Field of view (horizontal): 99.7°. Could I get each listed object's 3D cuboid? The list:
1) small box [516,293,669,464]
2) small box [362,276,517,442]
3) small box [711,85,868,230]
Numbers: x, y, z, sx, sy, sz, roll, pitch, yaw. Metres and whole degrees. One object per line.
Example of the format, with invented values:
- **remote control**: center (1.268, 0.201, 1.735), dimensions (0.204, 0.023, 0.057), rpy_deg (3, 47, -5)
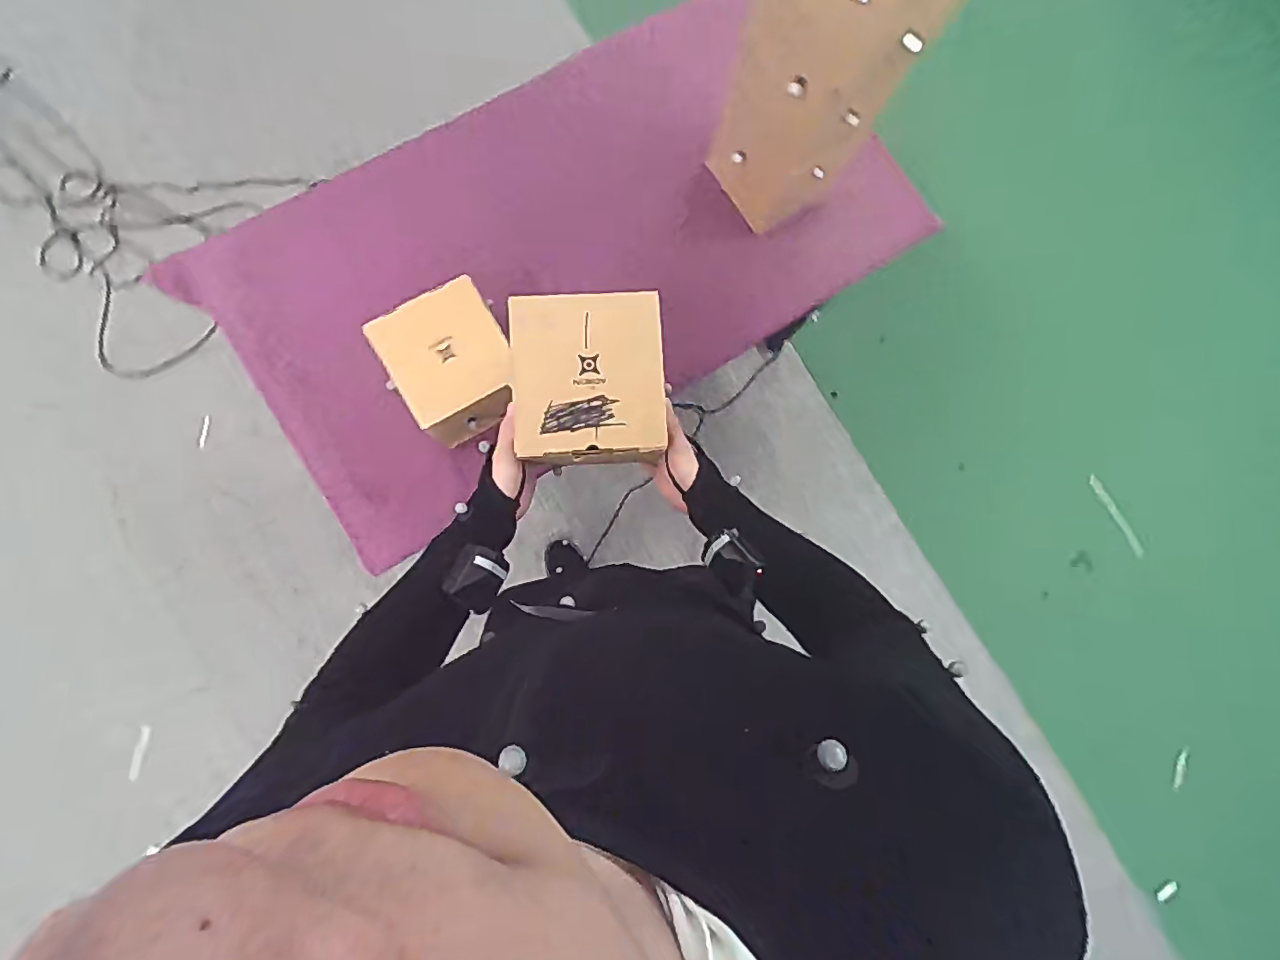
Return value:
- **small box**: center (-0.053, -0.110, 0.656), dimensions (0.168, 0.176, 0.179), rpy_deg (-2, 87, -3)
- **small box**: center (-0.284, -0.172, 0.841), dimensions (0.168, 0.176, 0.179), rpy_deg (-31, 87, -7)
- **small box**: center (0.243, -0.577, 0.932), dimensions (0.168, 0.176, 0.179), rpy_deg (-34, 87, -7)
